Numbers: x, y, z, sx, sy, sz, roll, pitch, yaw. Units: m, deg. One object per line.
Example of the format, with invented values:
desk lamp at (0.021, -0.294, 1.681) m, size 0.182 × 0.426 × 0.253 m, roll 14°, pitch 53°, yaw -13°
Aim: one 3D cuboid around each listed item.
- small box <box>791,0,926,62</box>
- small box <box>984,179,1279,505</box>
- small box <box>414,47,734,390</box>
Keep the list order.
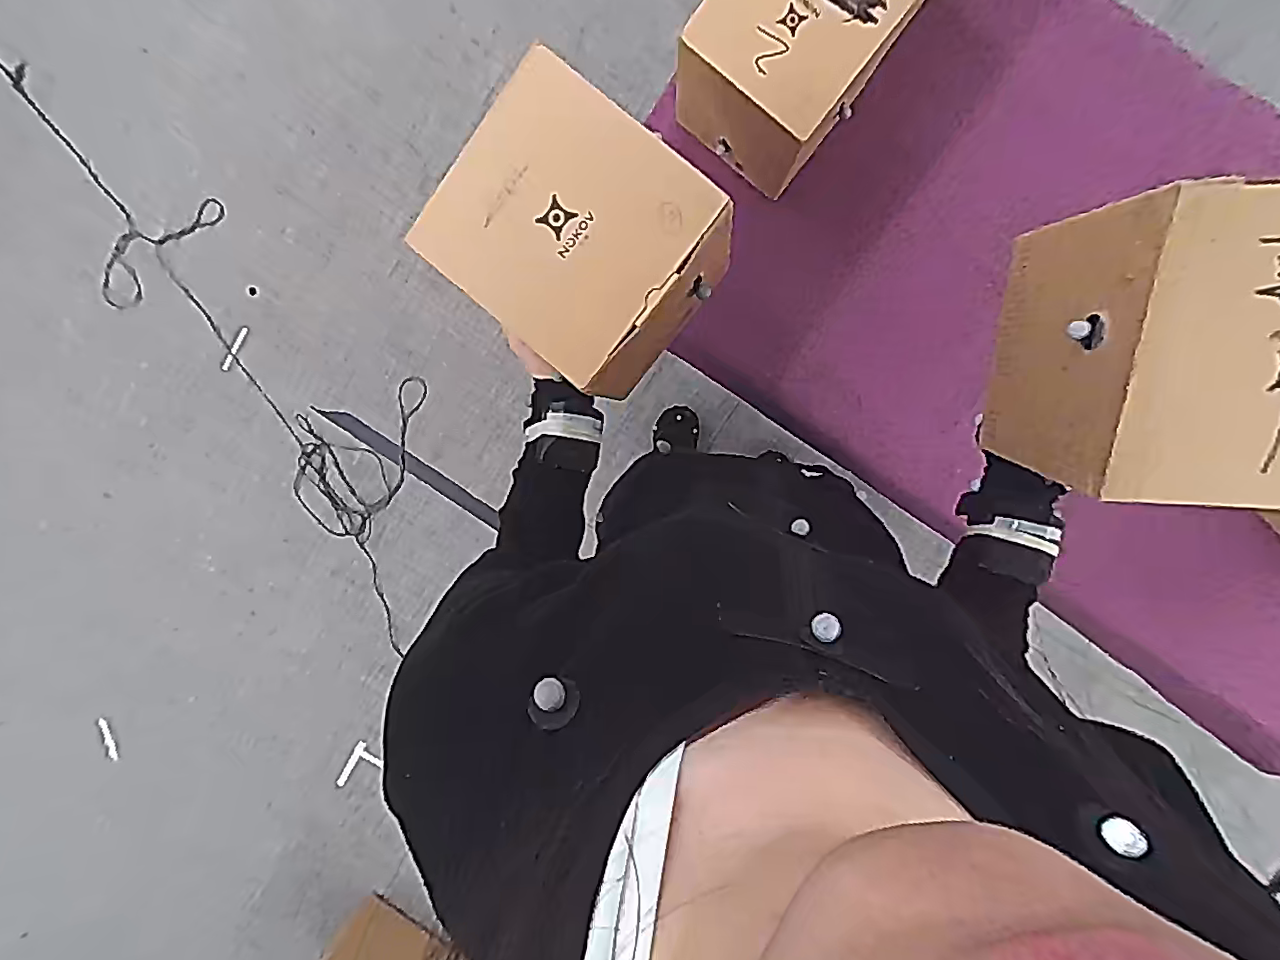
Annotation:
small box at (0.273, -0.617, 0.577) m, size 0.168 × 0.176 × 0.179 m, roll 37°, pitch 99°, yaw -2°
small box at (0.372, -0.090, 0.375) m, size 0.168 × 0.176 × 0.179 m, roll 4°, pitch 106°, yaw 8°
small box at (-0.040, -0.191, 0.459) m, size 0.179 × 0.176 × 0.168 m, roll 40°, pitch 99°, yaw 3°
